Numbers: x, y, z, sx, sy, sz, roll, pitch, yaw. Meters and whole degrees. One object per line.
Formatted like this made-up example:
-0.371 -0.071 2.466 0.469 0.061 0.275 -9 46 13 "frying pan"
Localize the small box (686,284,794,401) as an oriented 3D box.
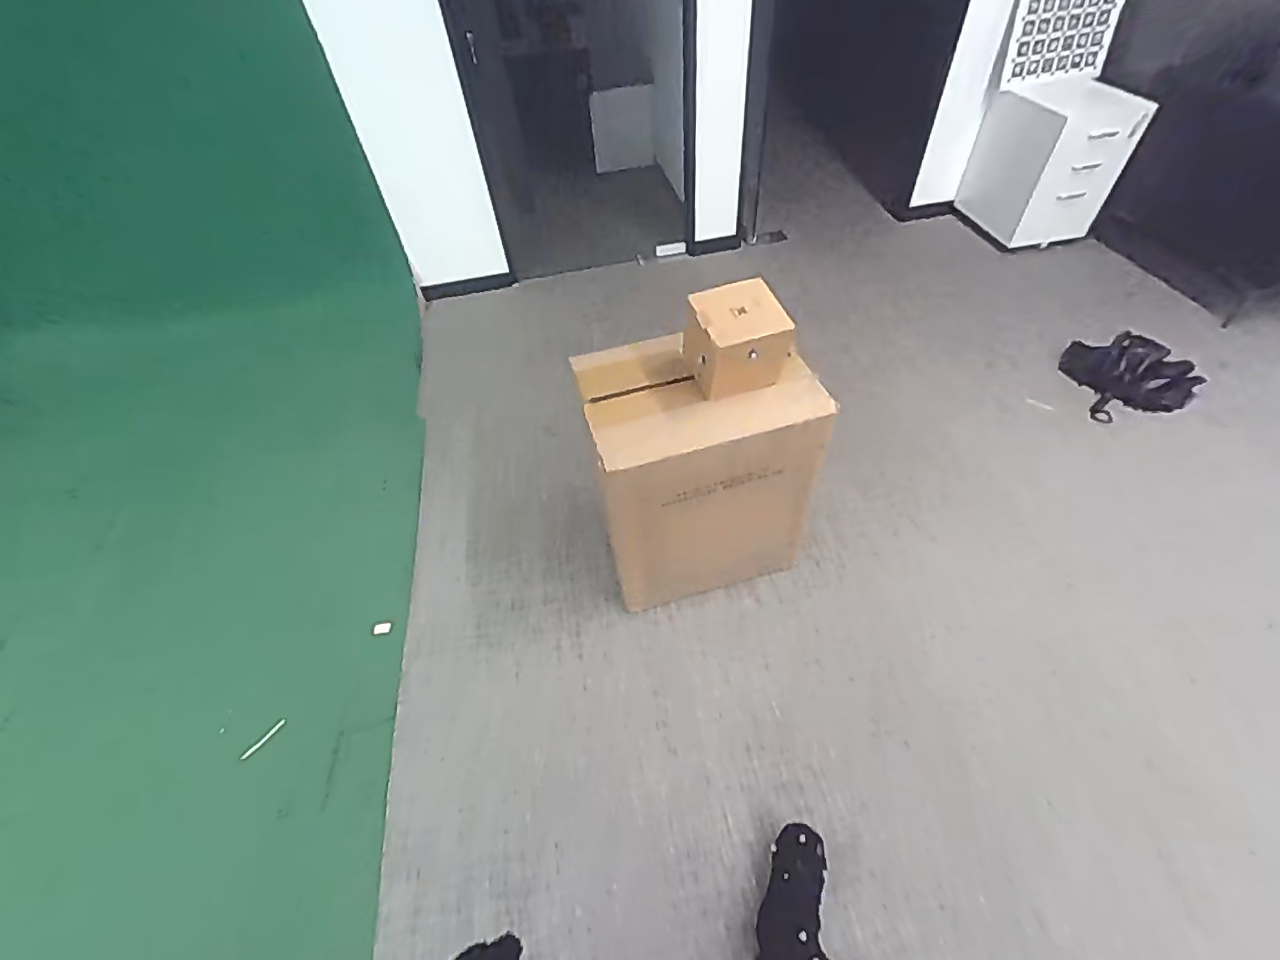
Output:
0.208 -0.296 1.189 0.179 0.176 0.168 -16 60 -11 "small box"
